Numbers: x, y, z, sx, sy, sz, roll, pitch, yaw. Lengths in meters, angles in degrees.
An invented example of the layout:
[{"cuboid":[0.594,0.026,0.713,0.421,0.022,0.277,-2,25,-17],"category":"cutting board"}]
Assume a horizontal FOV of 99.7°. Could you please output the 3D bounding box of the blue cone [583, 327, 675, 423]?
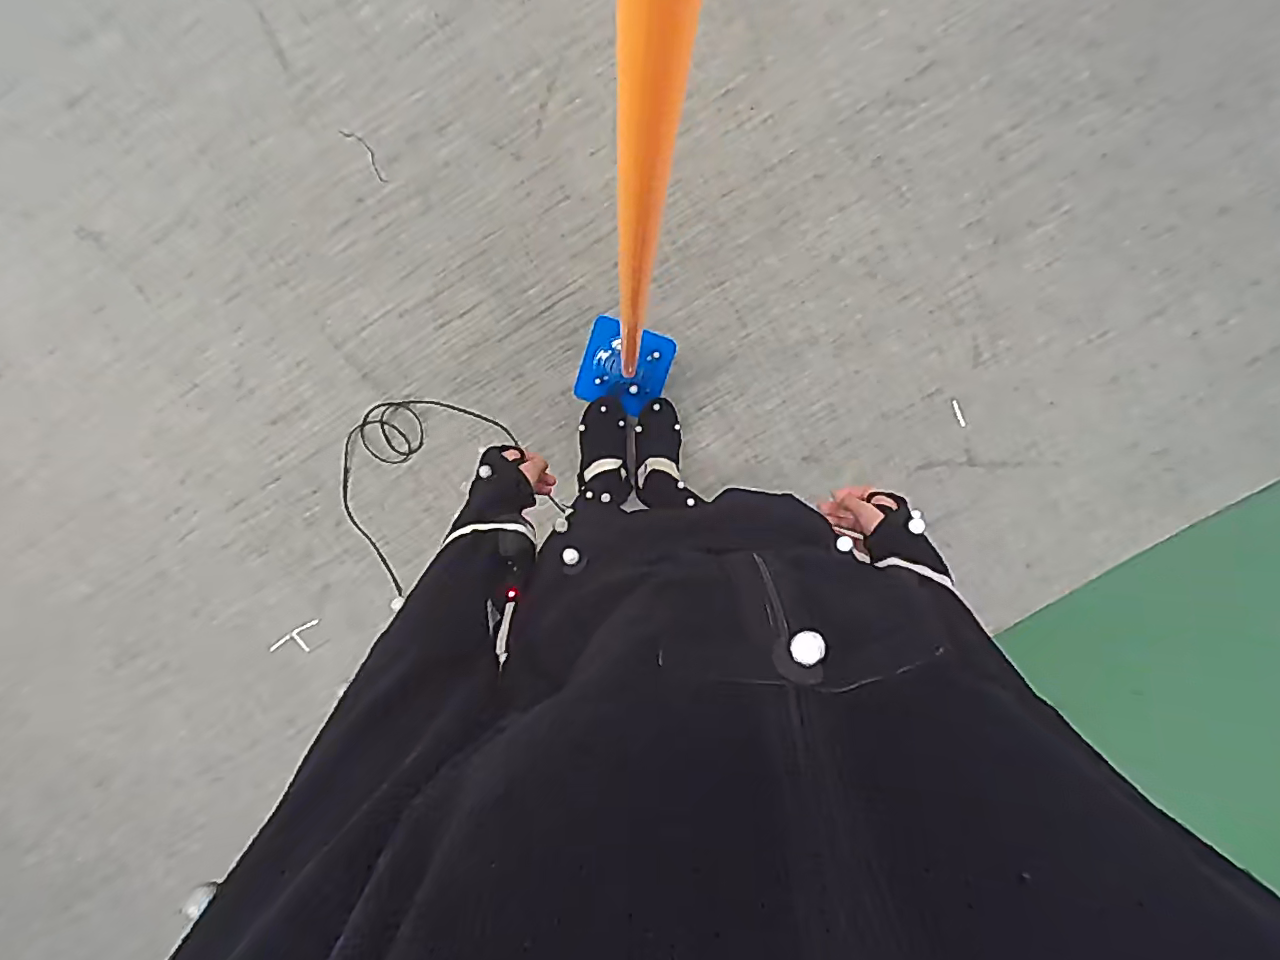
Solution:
[{"cuboid":[-0.017,-0.209,1.075,0.192,0.380,0.193,17,100,-6],"category":"blue cone"}]
